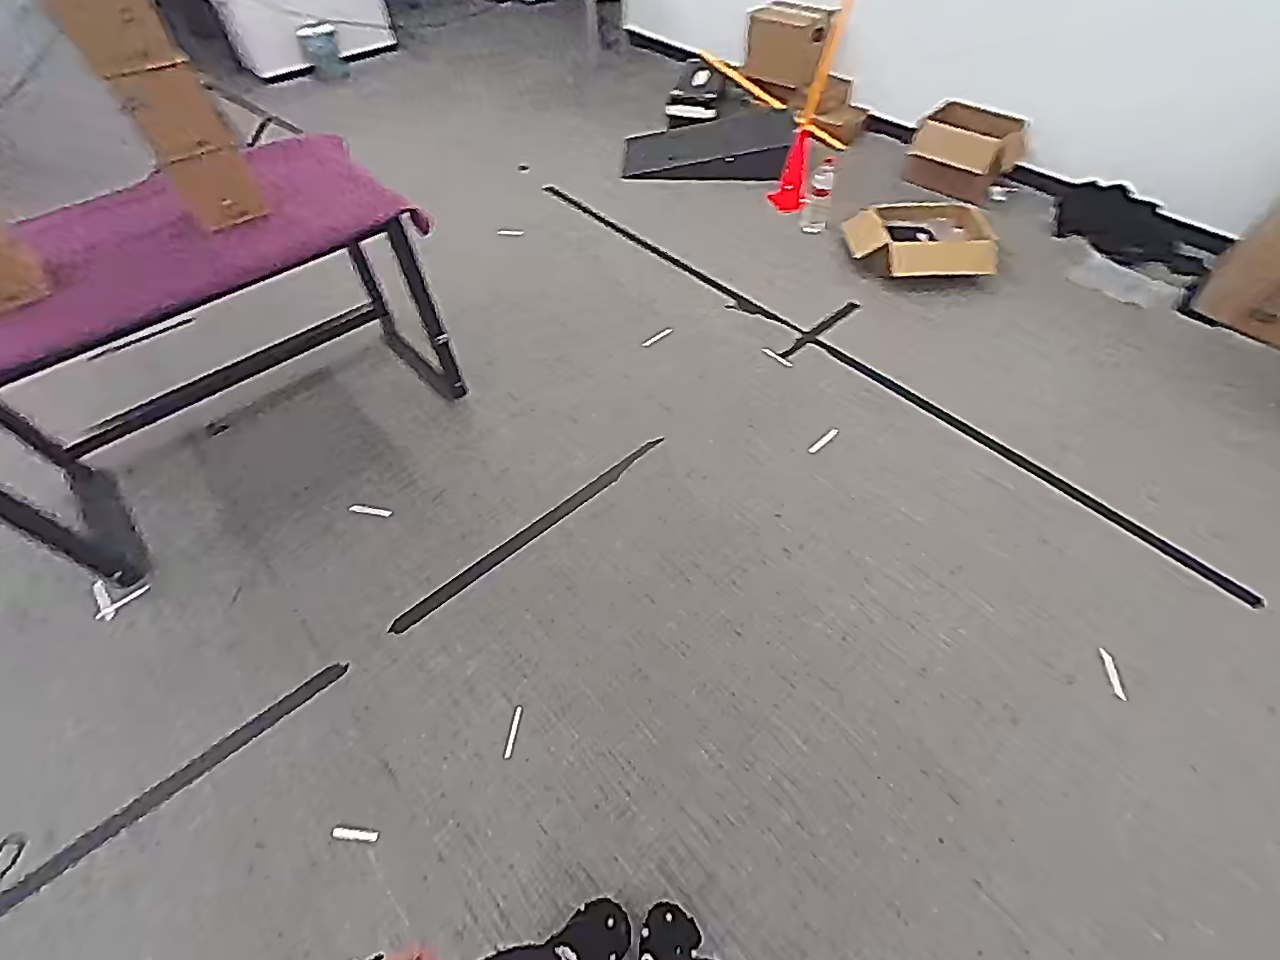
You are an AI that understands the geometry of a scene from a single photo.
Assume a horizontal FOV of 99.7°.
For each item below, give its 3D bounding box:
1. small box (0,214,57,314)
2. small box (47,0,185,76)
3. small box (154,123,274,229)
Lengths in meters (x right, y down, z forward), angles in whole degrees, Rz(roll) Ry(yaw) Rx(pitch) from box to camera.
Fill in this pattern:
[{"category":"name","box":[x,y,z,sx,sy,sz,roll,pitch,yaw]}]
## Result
[{"category":"small box","box":[-1.439,-0.479,1.172,0.168,0.176,0.179,-35,62,-22]},{"category":"small box","box":[-1.083,-0.958,1.110,0.168,0.176,0.179,-29,58,-20]},{"category":"small box","box":[-1.080,-0.773,1.379,0.168,0.176,0.179,-32,60,-19]}]
